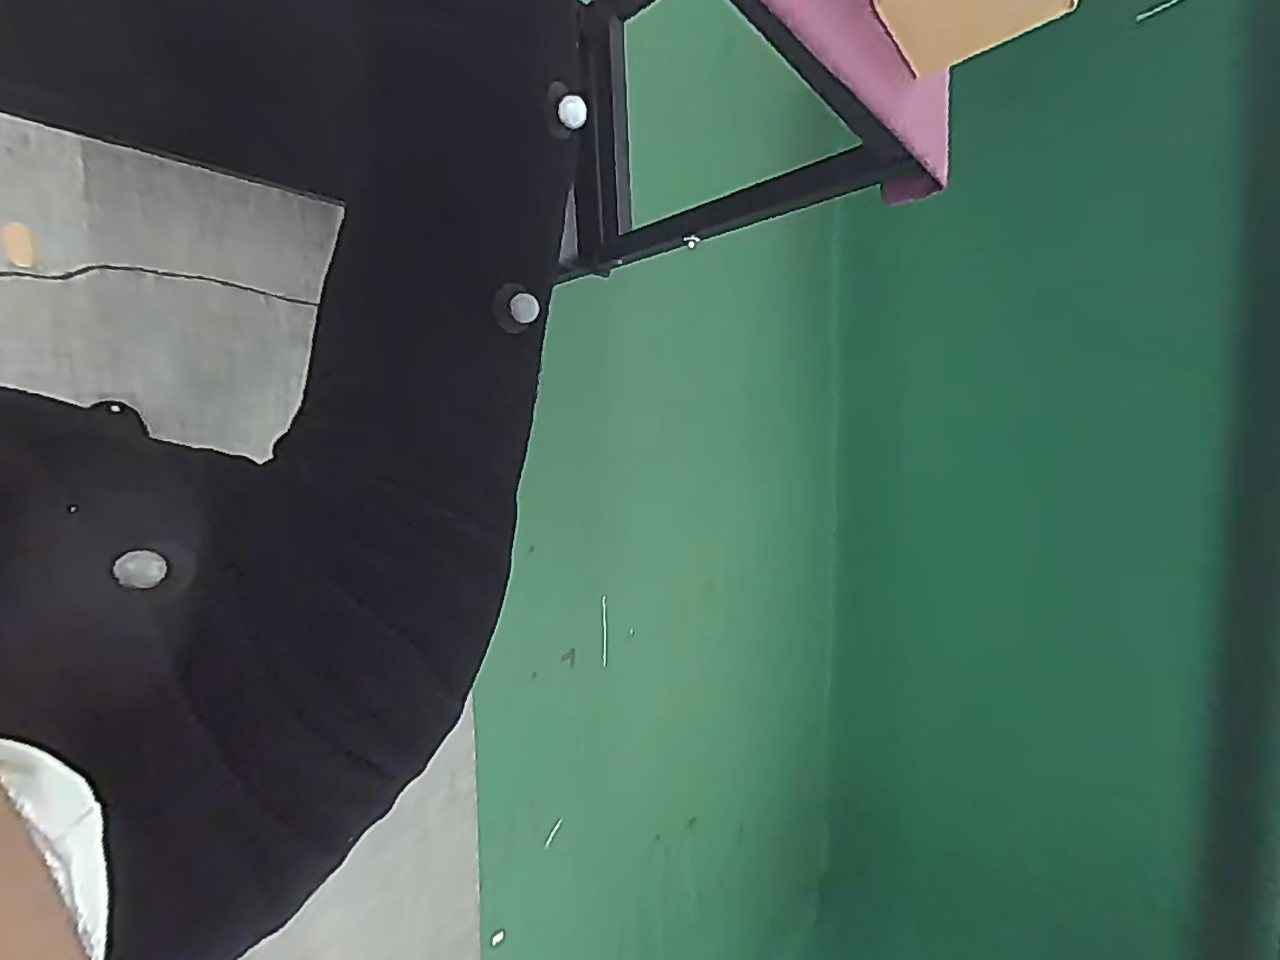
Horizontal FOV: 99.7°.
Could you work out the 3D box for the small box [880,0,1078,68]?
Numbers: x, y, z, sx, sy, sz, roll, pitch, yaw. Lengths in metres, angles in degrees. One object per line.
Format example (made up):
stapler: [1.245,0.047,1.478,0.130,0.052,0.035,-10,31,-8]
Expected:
small box: [0.371,-0.608,0.597,0.179,0.176,0.168,-6,95,-48]
